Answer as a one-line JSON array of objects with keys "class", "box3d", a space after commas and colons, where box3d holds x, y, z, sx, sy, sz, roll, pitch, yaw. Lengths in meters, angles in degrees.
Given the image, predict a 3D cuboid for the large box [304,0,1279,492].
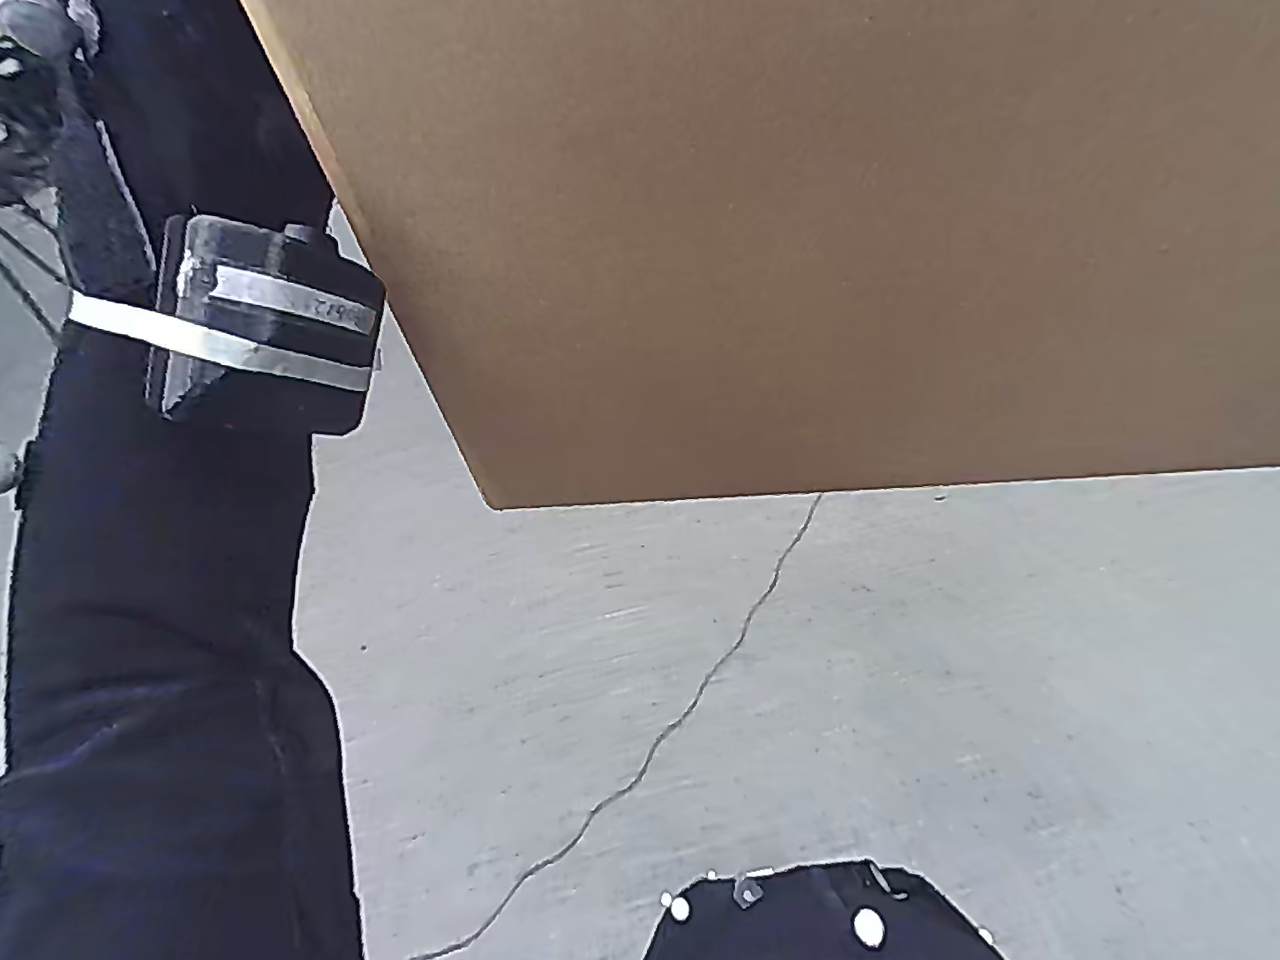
[{"class": "large box", "box3d": [0.105, -0.214, 0.281, 0.408, 0.320, 0.320, -3, 46, 5]}]
